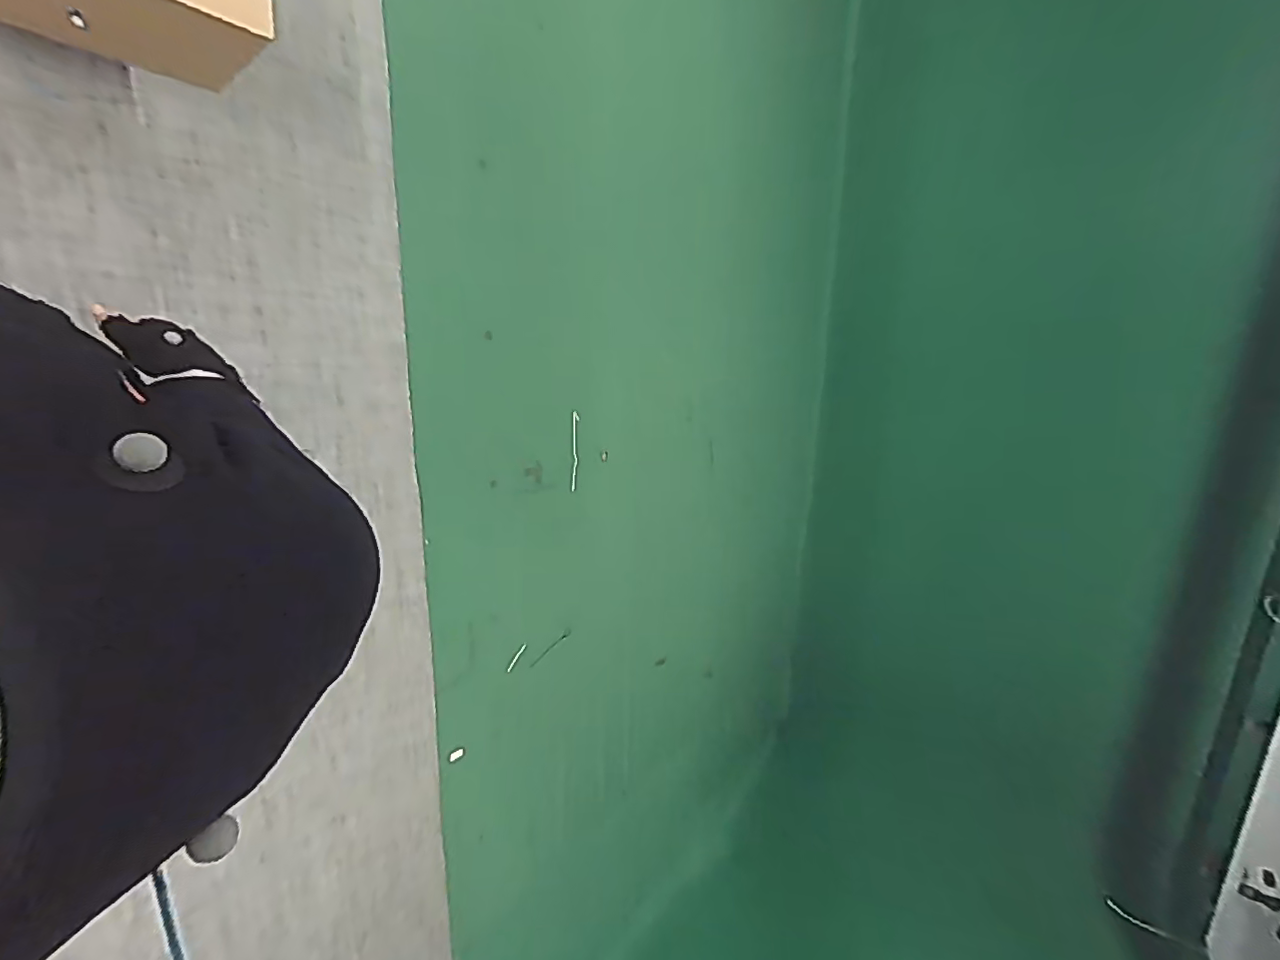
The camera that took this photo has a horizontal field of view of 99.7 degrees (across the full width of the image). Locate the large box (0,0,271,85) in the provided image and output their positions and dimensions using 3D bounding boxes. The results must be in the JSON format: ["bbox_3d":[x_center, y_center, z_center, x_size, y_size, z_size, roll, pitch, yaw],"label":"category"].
[{"bbox_3d":[-0.808,-0.831,0.752,0.408,0.320,0.320,-12,109,-49],"label":"large box"}]
